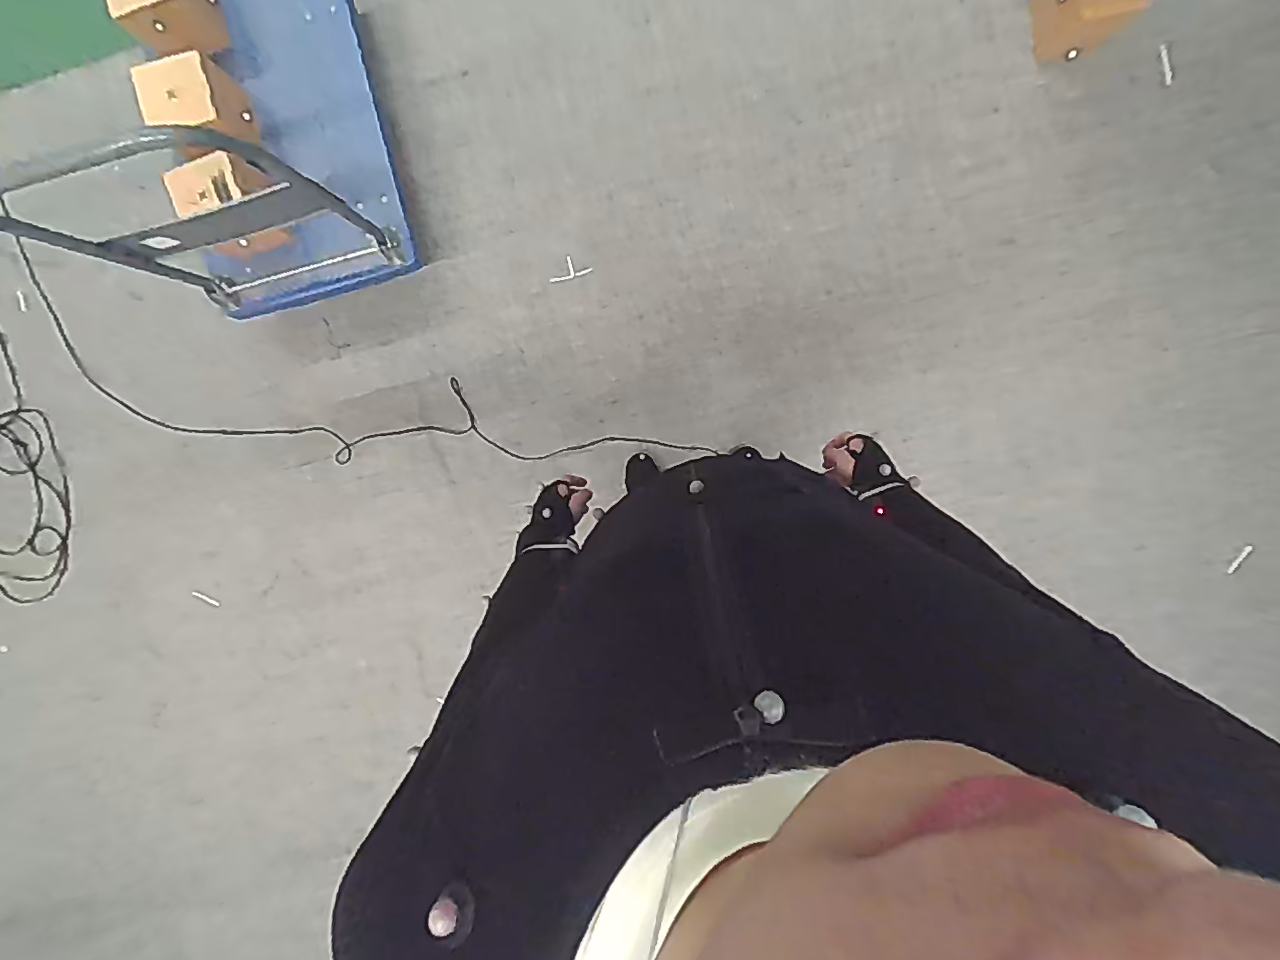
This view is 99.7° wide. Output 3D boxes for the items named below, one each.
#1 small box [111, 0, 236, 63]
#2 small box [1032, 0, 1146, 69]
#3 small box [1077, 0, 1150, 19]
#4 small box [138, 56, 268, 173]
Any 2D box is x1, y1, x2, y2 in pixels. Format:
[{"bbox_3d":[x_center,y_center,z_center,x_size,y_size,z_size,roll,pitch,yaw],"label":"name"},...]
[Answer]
[{"bbox_3d":[-1.174,-1.187,1.356,0.179,0.176,0.168,-14,94,3],"label":"small box"},{"bbox_3d":[1.173,-1.241,1.426,0.168,0.176,0.179,-9,93,4],"label":"small box"},{"bbox_3d":[1.159,-1.235,1.263,0.179,0.176,0.168,-9,93,5],"label":"small box"},{"bbox_3d":[-1.102,-0.917,1.375,0.179,0.176,0.168,-13,93,2],"label":"small box"}]
